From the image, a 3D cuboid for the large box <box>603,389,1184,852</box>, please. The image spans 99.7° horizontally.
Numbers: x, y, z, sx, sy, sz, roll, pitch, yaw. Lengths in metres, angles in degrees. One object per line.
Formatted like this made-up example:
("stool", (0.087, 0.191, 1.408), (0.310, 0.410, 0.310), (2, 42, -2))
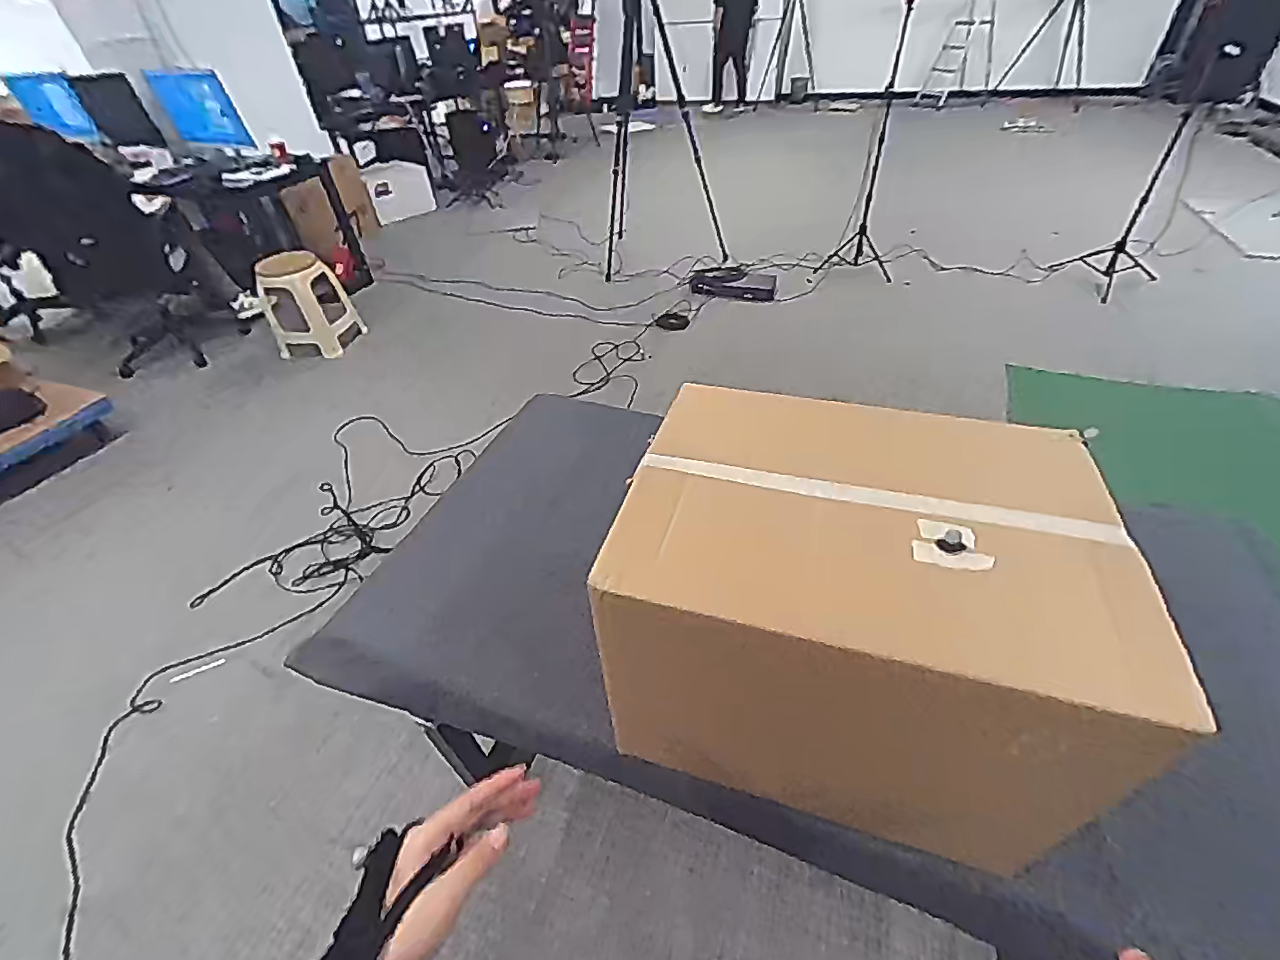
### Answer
("large box", (0.203, 0.131, 0.591), (0.408, 0.320, 0.320), (11, 44, 14))
